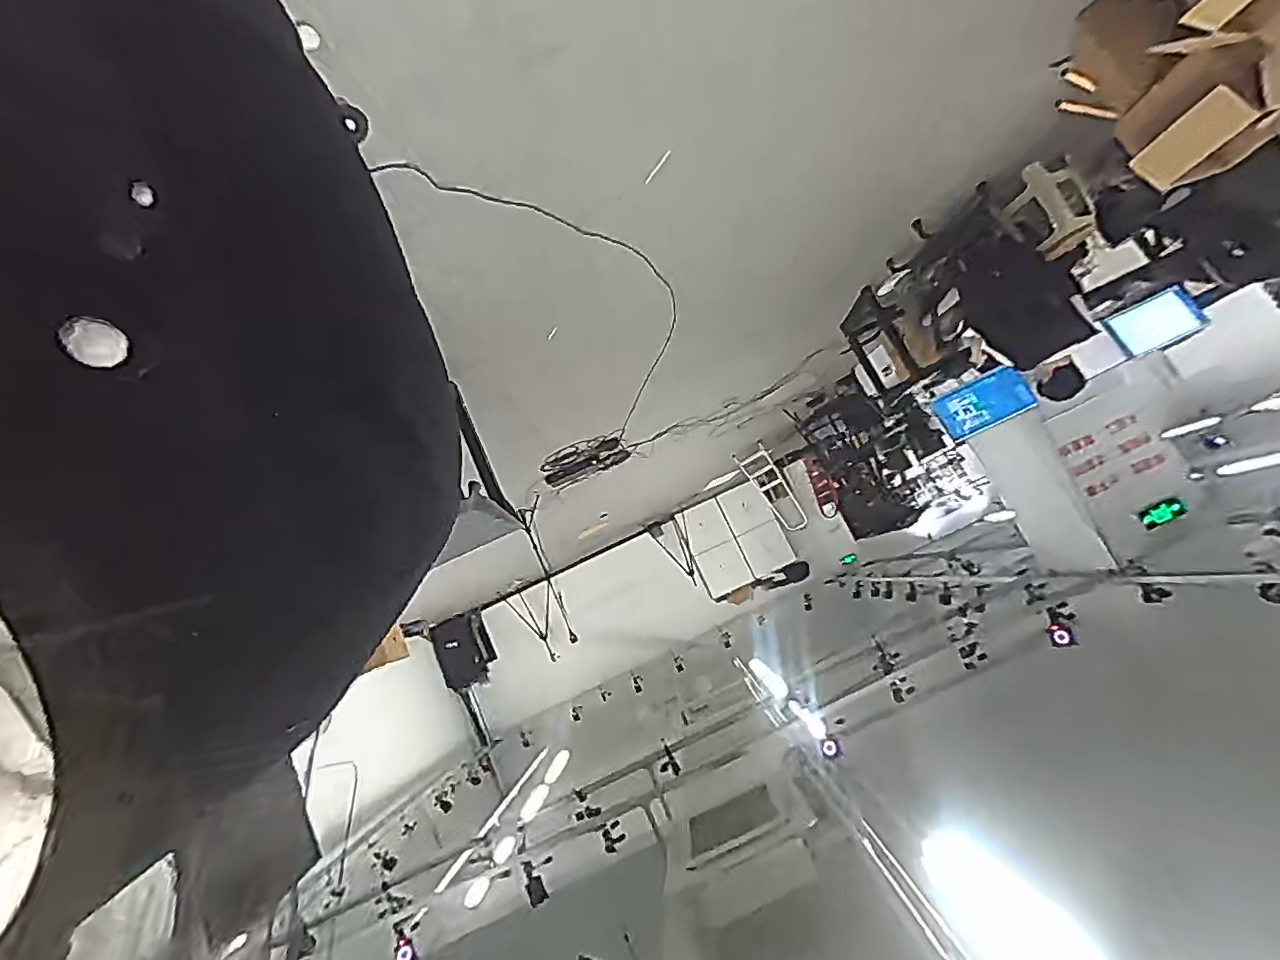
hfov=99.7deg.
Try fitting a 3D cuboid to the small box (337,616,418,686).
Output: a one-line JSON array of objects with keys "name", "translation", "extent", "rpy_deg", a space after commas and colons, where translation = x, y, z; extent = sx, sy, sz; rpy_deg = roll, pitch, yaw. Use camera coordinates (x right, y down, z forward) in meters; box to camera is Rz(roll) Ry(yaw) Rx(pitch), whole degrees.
[{"name": "small box", "translation": [-0.912, 0.586, 1.875], "extent": [0.168, 0.176, 0.179], "rpy_deg": [-26, 169, -1]}]
